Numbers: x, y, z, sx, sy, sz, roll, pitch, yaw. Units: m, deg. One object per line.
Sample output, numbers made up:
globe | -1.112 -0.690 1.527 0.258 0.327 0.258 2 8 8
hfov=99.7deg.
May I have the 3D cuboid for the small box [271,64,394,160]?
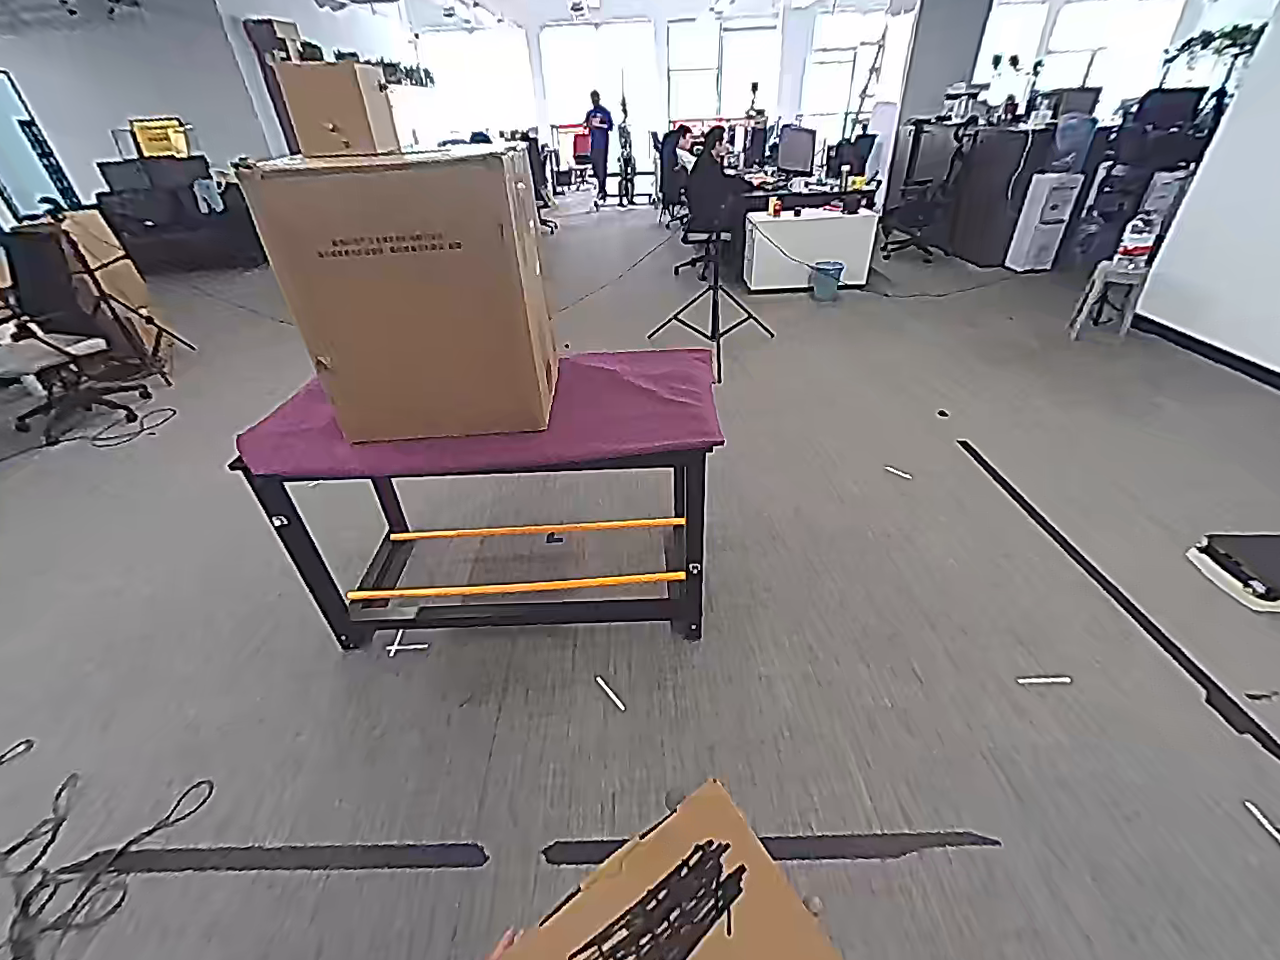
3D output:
small box | -0.679 -0.827 1.222 0.168 0.176 0.179 -4 35 -1
